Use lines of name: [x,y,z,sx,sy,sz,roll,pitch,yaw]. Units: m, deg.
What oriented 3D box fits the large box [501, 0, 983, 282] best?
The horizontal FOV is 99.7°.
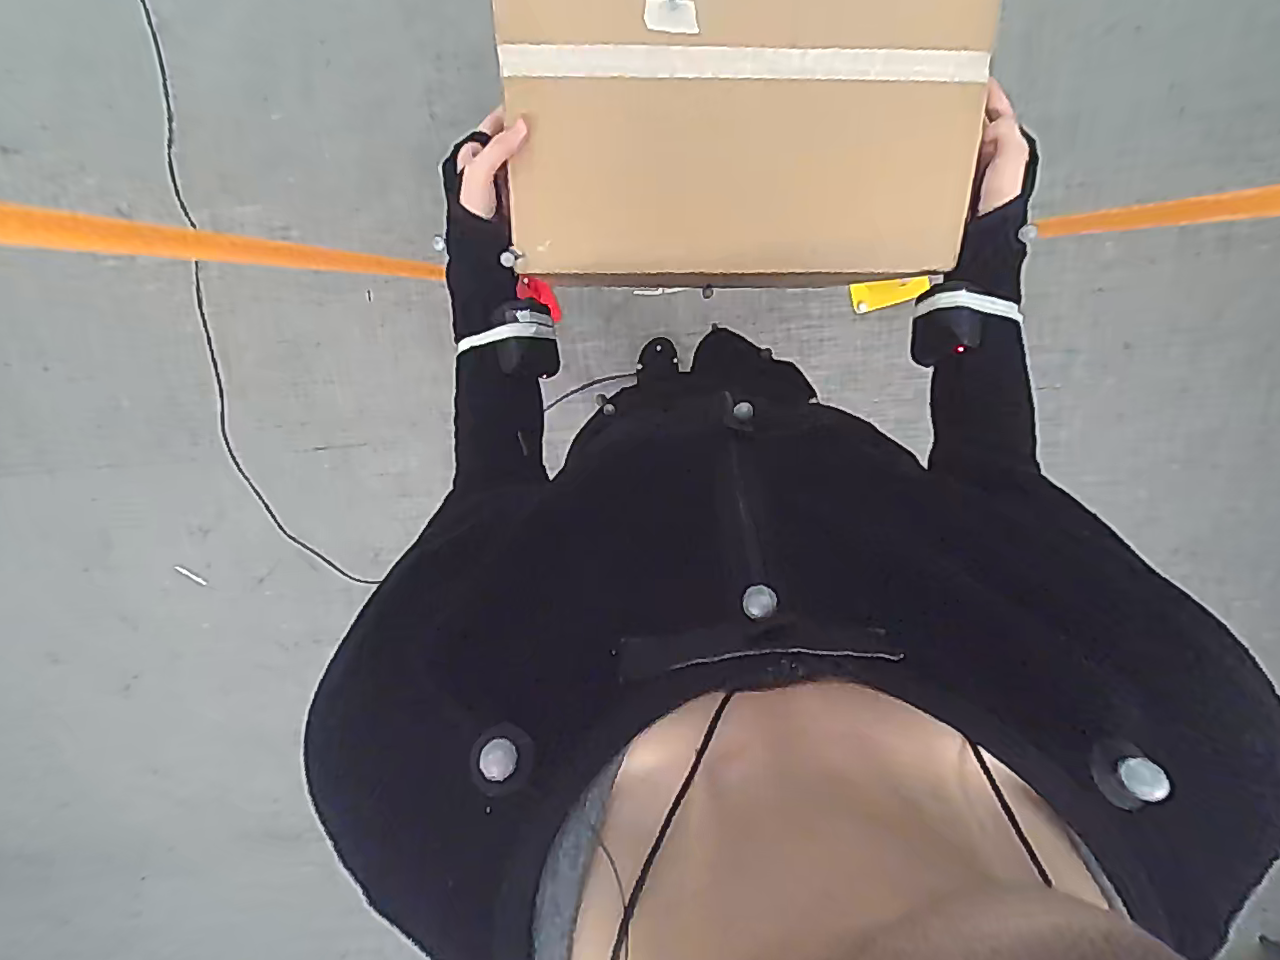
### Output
large box: [0.083,-0.391,0.598,0.408,0.320,0.320,-1,106,-2]
